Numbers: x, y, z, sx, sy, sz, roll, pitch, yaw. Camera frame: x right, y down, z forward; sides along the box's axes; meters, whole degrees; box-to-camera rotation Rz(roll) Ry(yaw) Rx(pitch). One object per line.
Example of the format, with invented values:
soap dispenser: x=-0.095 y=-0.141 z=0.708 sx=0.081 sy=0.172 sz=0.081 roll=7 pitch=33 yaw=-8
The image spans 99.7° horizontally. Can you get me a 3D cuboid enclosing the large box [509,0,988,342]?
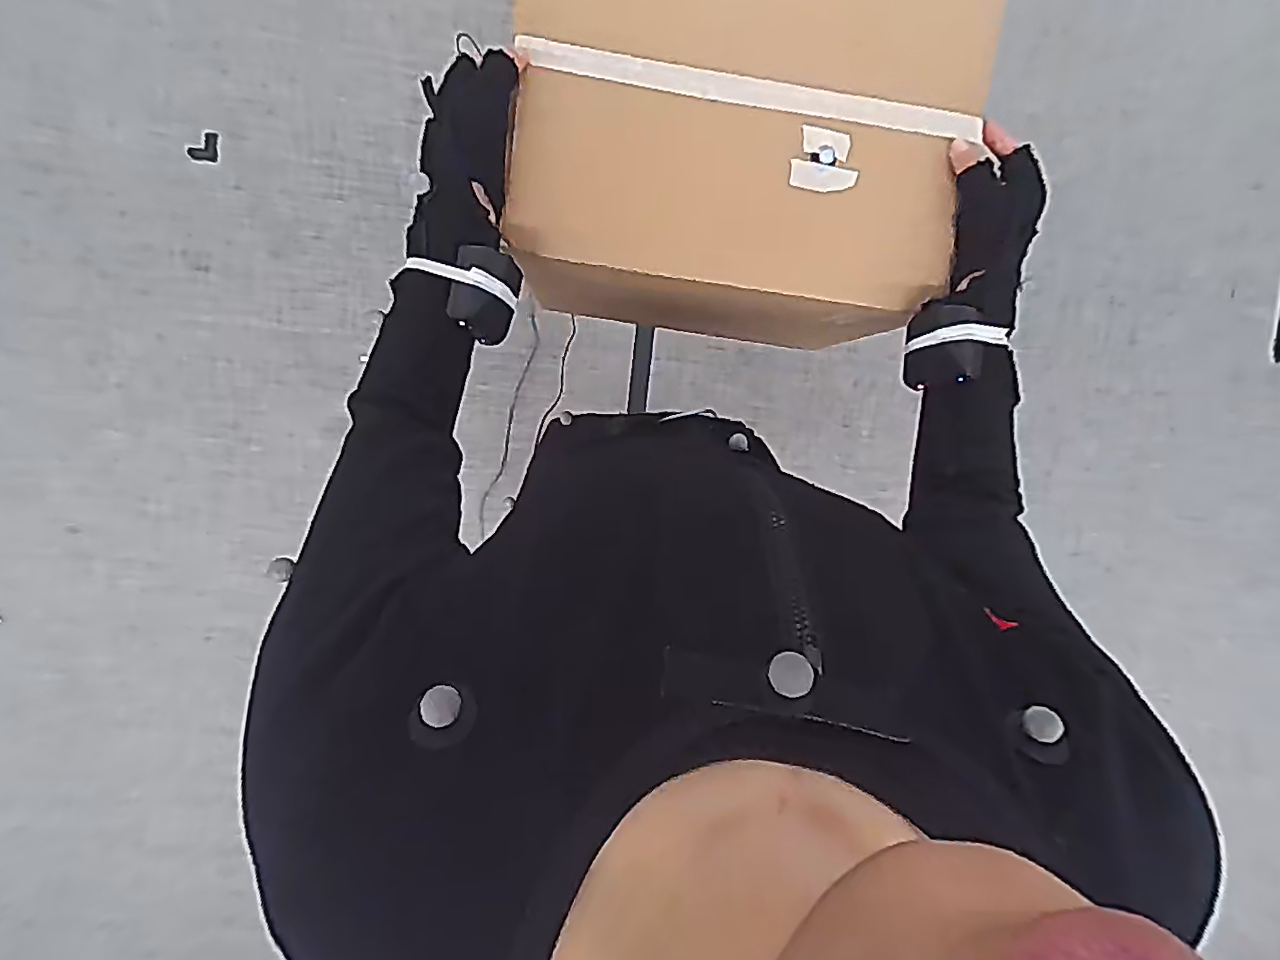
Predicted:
large box: x=0.085 y=-0.354 z=0.621 sx=0.408 sy=0.320 sz=0.320 roll=7 pitch=99 yaw=-5
